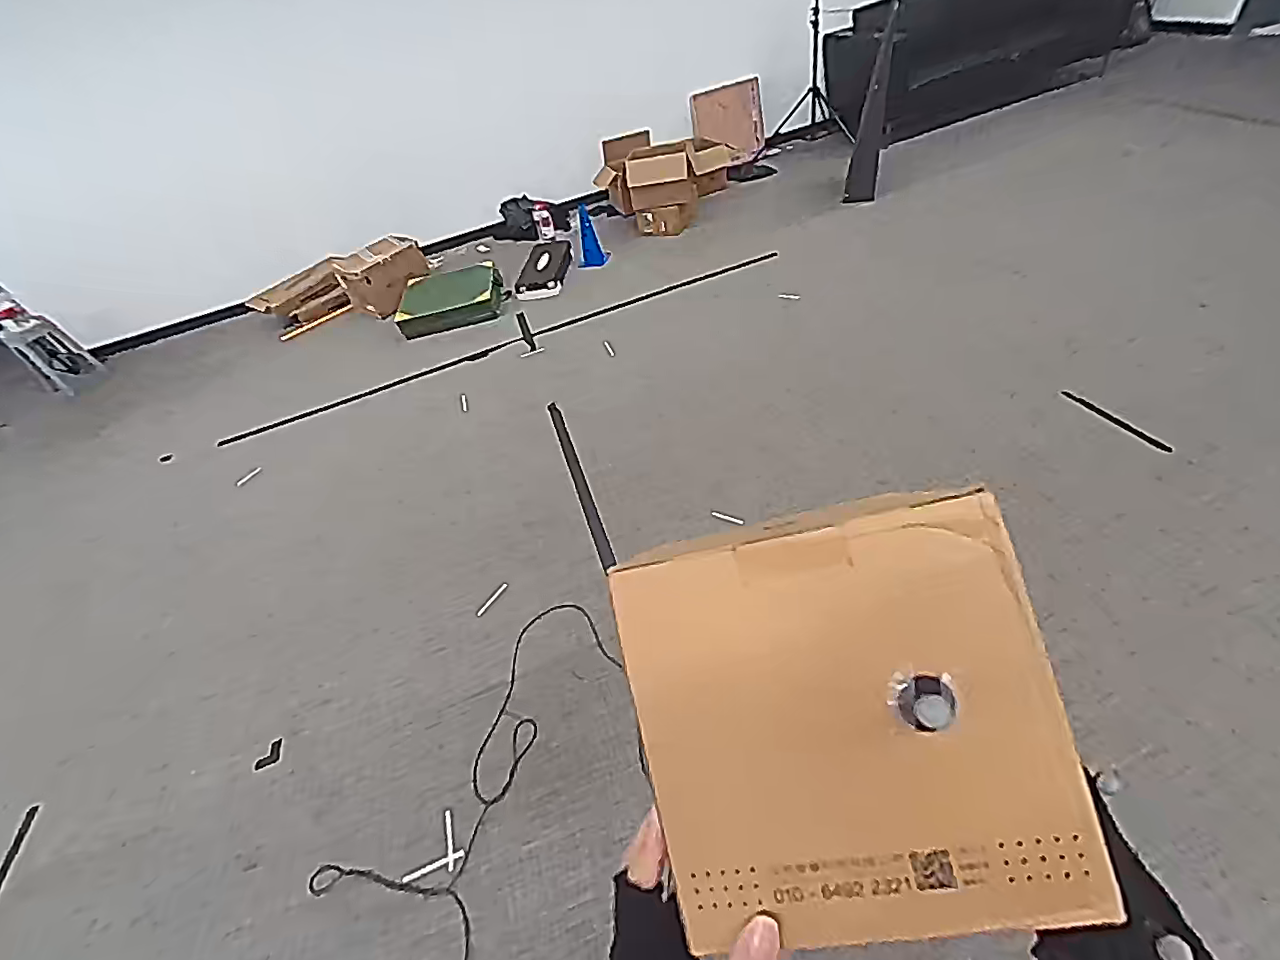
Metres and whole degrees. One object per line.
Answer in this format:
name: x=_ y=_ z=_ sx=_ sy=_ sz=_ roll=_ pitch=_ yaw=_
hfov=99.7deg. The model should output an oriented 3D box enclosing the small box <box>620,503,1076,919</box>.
small box: x=0.104 y=0.116 z=0.317 sx=0.168 sy=0.179 sz=0.176 roll=-14 pitch=84 yaw=12
